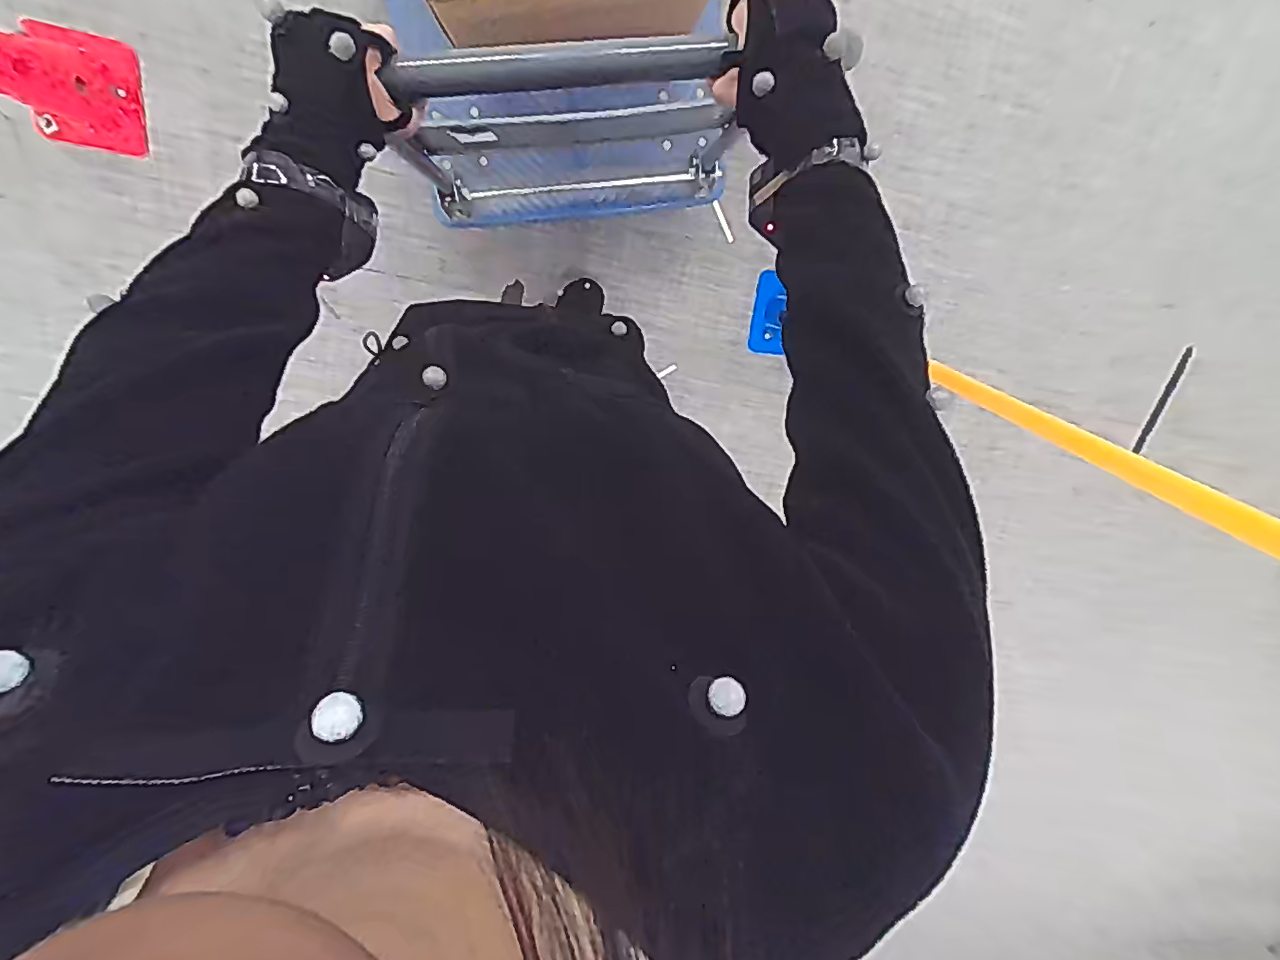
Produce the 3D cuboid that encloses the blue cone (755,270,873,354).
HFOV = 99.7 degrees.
[{"bbox_3d":[0.406,-0.360,1.202,0.193,0.380,0.192,6,110,-9],"label":"blue cone"}]
